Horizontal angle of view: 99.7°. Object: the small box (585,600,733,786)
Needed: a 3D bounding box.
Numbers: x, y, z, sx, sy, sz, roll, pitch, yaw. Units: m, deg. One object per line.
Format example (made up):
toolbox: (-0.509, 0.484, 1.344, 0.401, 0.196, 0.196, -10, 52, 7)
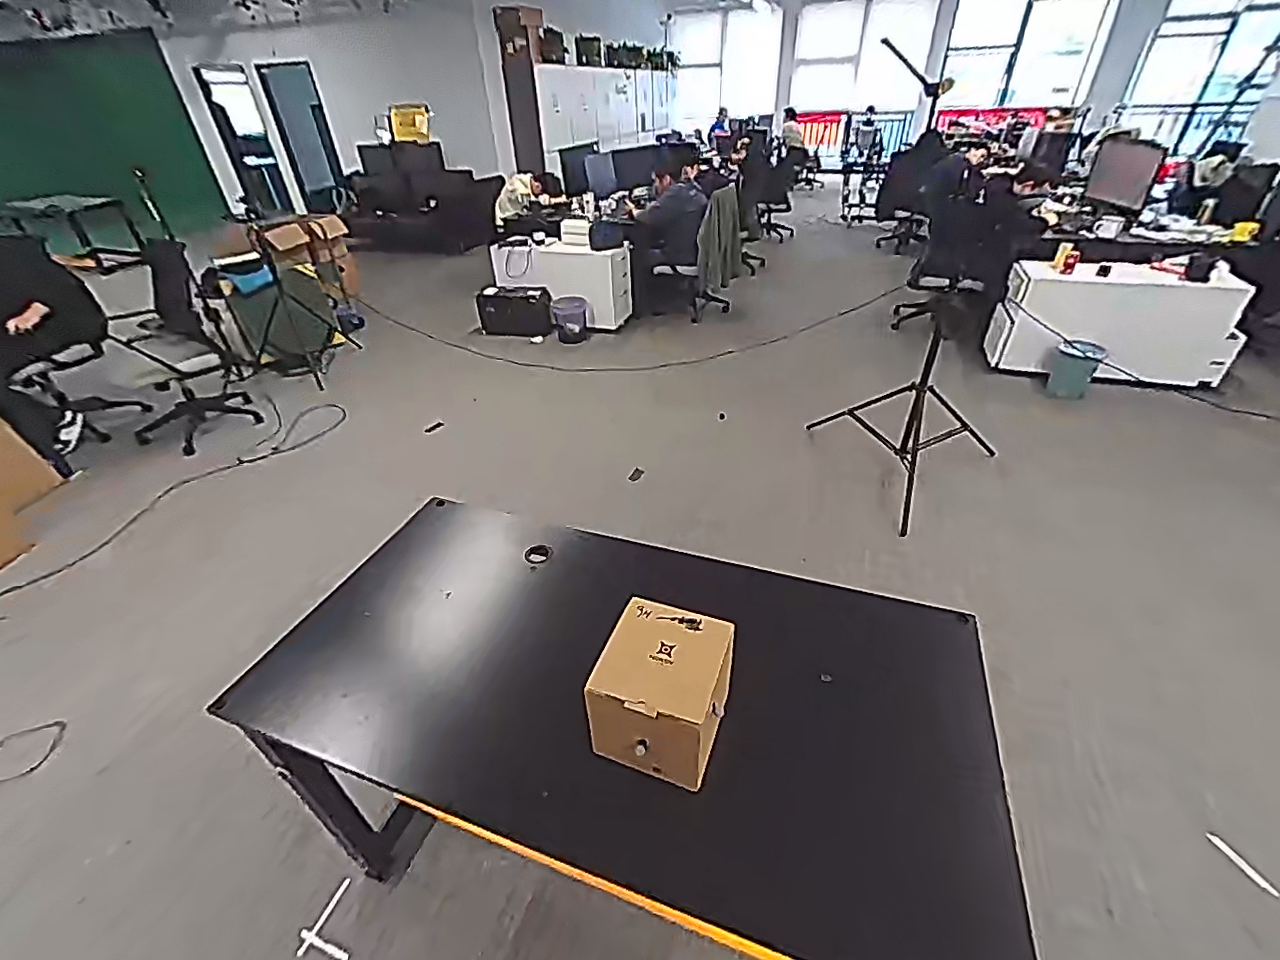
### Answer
small box: (0.036, 0.314, 0.805, 0.168, 0.176, 0.179, 11, 38, 19)
